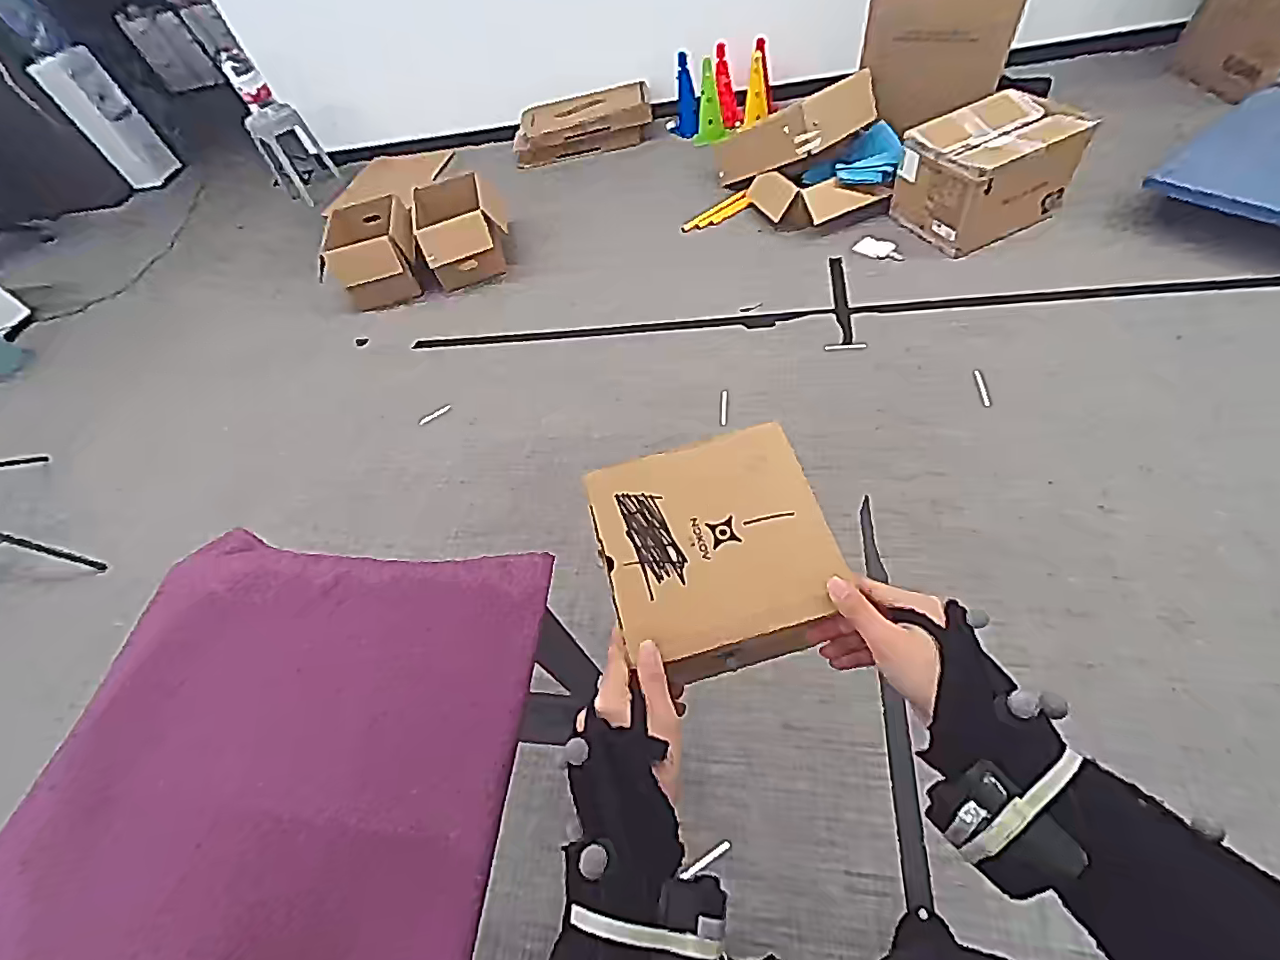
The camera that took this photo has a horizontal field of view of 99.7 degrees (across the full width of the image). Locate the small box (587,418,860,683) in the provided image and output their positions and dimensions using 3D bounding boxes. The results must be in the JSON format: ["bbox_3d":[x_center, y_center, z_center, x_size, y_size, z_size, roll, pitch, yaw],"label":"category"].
[{"bbox_3d":[0.064,0.074,0.492,0.179,0.176,0.168,-15,63,-3],"label":"small box"}]
